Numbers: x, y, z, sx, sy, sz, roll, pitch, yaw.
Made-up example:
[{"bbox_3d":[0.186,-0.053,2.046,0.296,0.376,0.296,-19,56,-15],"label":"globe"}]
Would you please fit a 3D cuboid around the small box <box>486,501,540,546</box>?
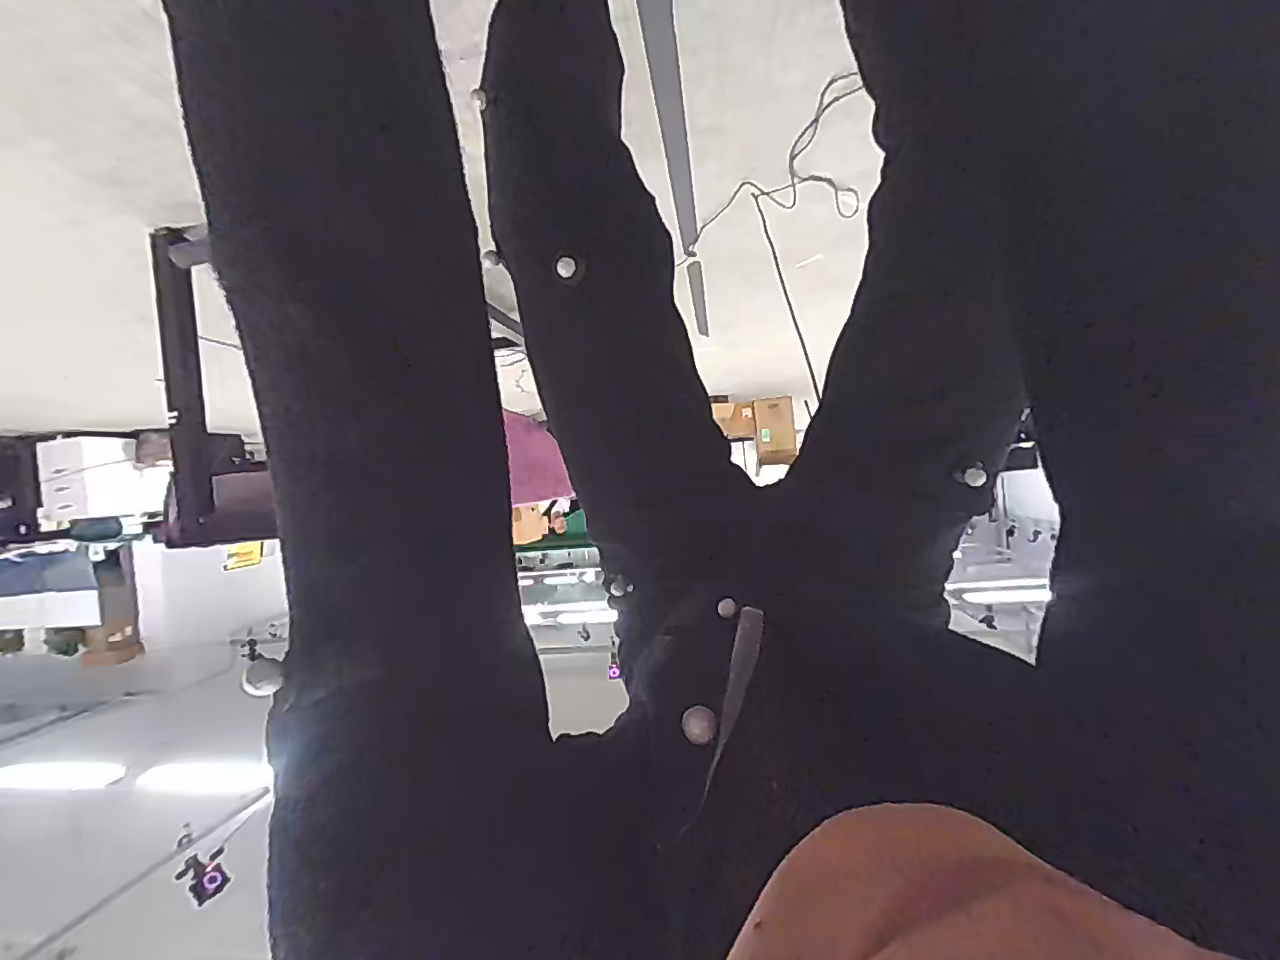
[{"bbox_3d":[-0.521,0.174,2.185,0.179,0.176,0.168,-6,-179,13],"label":"small box"}]
